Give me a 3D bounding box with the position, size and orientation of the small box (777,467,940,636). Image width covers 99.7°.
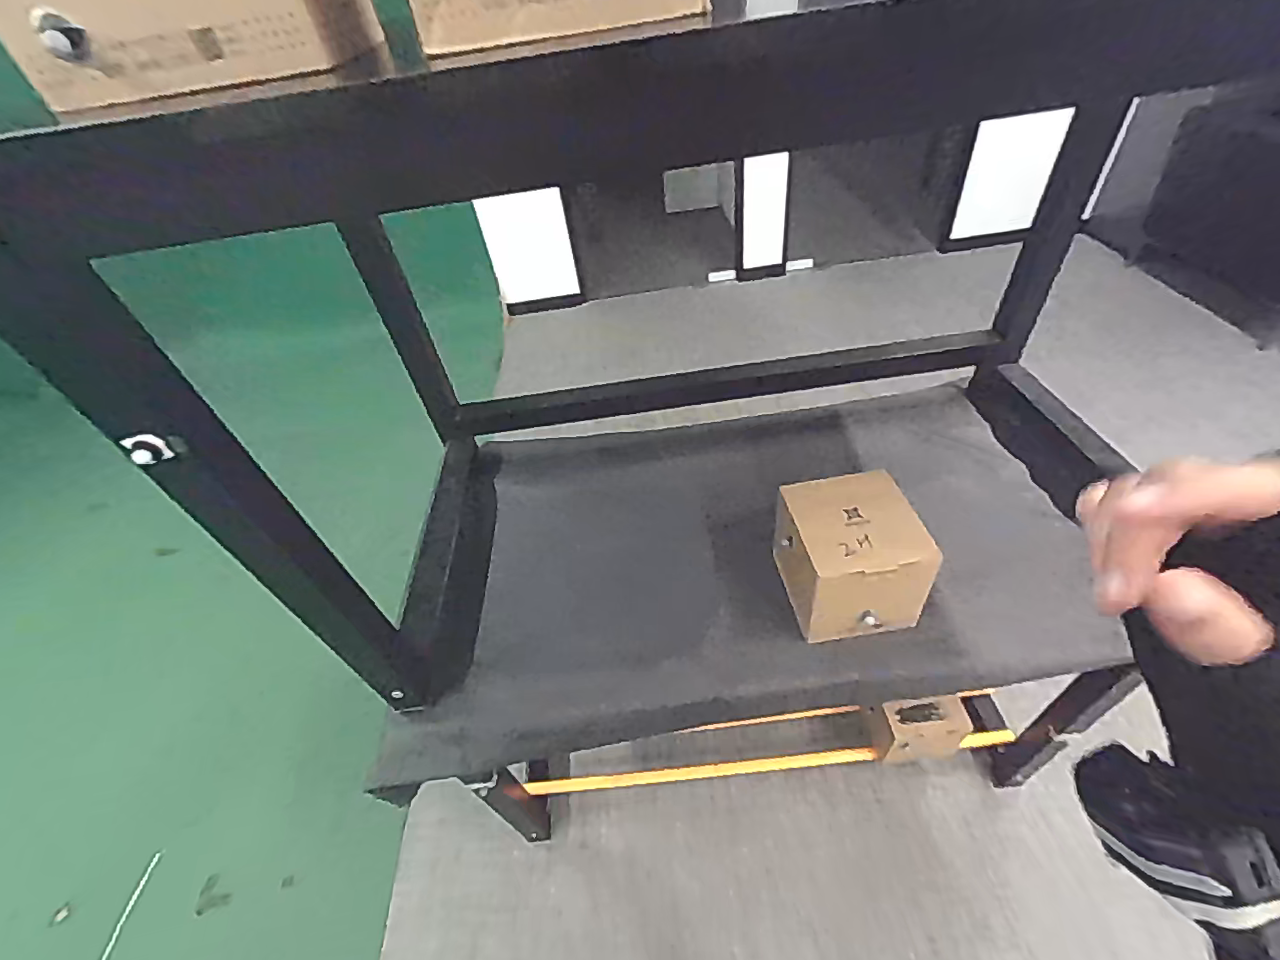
[{"bbox_3d":[0.313,0.108,0.819,0.168,0.176,0.179,-10,43,0],"label":"small box"}]

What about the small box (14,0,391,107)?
[{"bbox_3d":[-0.279,-0.348,0.334,0.168,0.176,0.179,-10,43,-2],"label":"small box"}]
